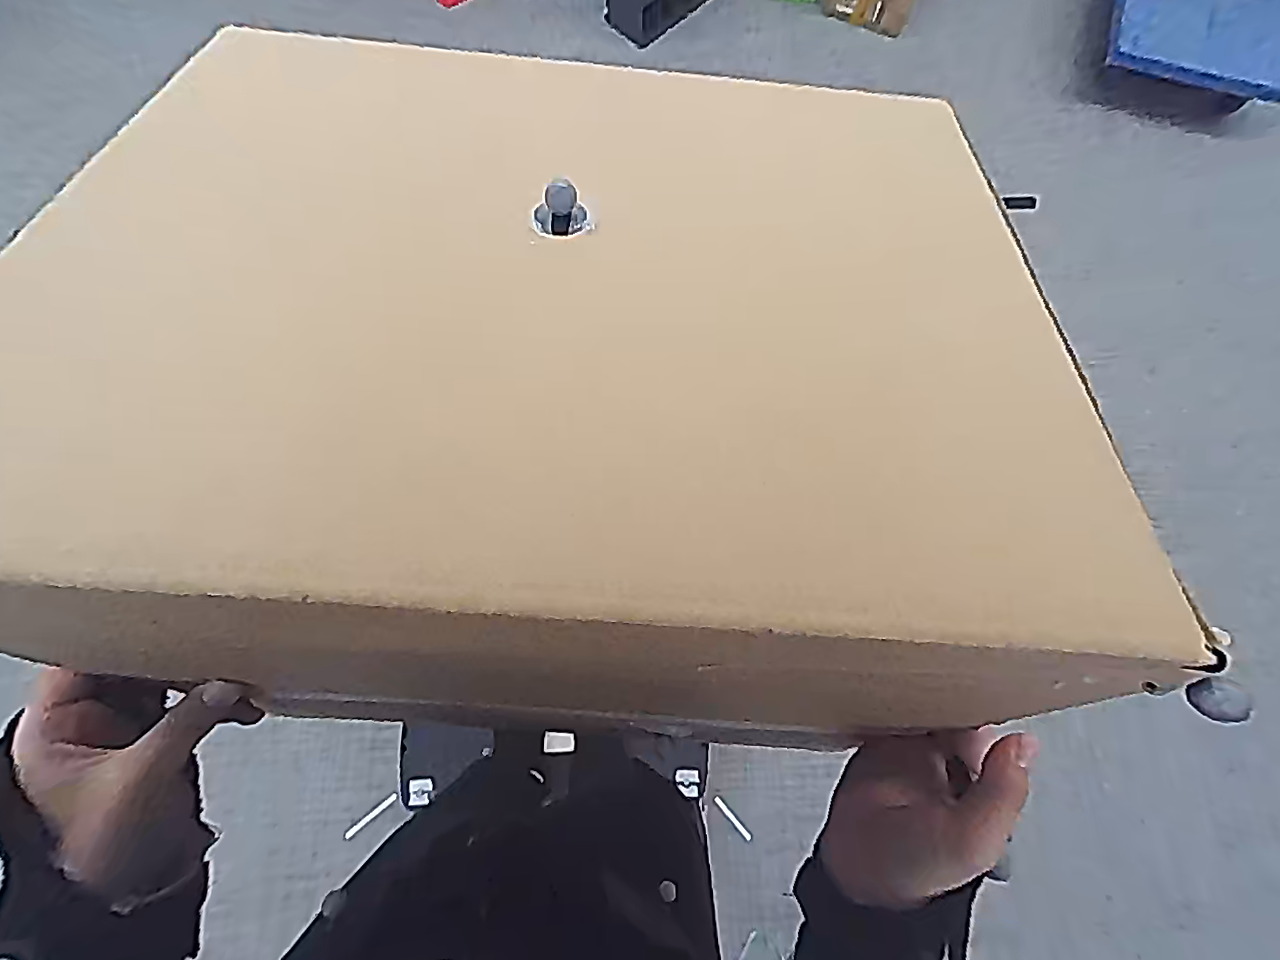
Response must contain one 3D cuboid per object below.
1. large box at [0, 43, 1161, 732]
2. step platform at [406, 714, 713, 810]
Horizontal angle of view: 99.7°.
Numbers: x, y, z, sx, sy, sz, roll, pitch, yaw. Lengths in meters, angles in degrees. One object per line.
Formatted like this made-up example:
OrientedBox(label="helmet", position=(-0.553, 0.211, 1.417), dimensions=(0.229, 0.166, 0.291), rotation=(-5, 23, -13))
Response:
OrientedBox(label="large box", position=(-0.055, -0.026, 0.349), dimensions=(0.408, 0.320, 0.320), rotation=(3, 61, -1))
OrientedBox(label="step platform", position=(-0.174, 0.572, 1.255), dimensions=(0.684, 0.204, 0.286), rotation=(3, 74, -1))
